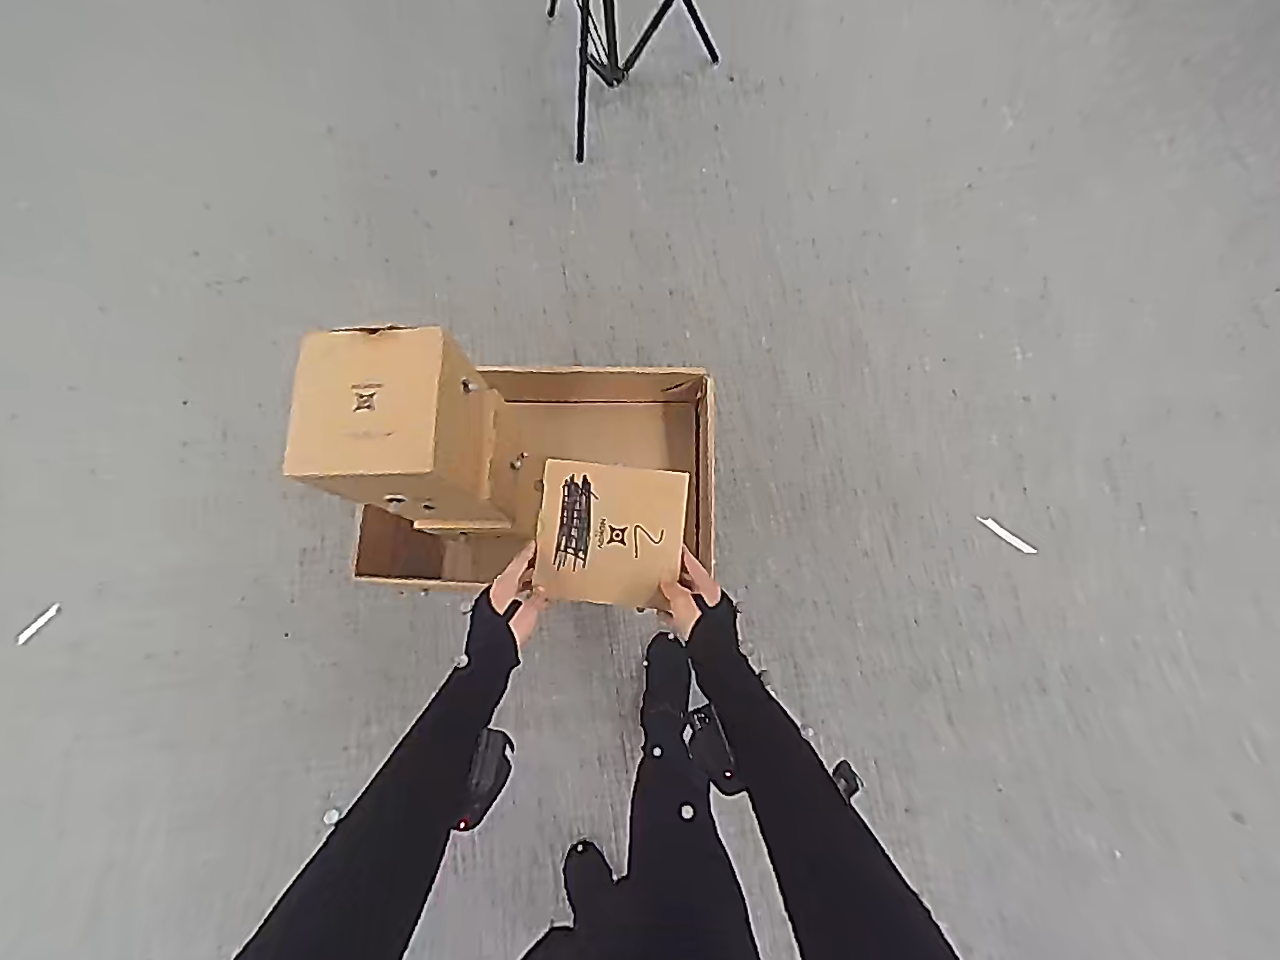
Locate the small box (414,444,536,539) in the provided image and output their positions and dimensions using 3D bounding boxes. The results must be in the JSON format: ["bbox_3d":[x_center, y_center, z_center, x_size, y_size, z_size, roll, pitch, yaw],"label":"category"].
[{"bbox_3d":[-0.289,0.013,0.983,0.168,0.176,0.179,0,76,1],"label":"small box"}]

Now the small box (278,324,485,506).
[{"bbox_3d":[-0.298,-0.071,0.666,0.168,0.176,0.179,-1,76,2],"label":"small box"}]

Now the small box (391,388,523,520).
[{"bbox_3d":[-0.289,-0.033,0.825,0.179,0.176,0.168,1,77,1],"label":"small box"}]
